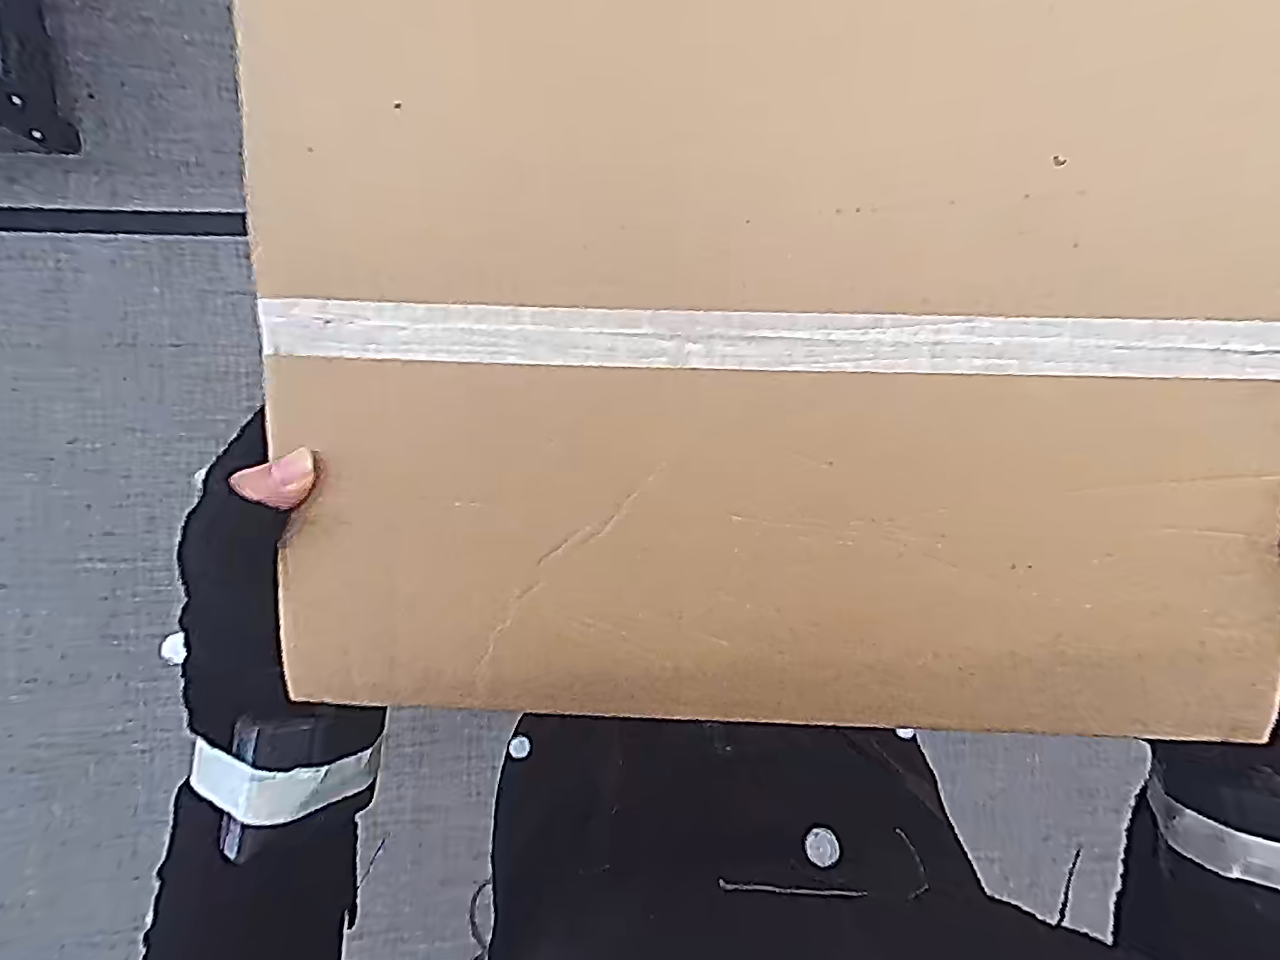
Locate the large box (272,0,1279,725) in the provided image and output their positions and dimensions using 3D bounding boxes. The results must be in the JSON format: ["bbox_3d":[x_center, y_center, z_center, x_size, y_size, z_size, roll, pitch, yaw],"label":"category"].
[{"bbox_3d":[0.061,-0.069,0.366,0.408,0.320,0.320,2,97,1],"label":"large box"}]
